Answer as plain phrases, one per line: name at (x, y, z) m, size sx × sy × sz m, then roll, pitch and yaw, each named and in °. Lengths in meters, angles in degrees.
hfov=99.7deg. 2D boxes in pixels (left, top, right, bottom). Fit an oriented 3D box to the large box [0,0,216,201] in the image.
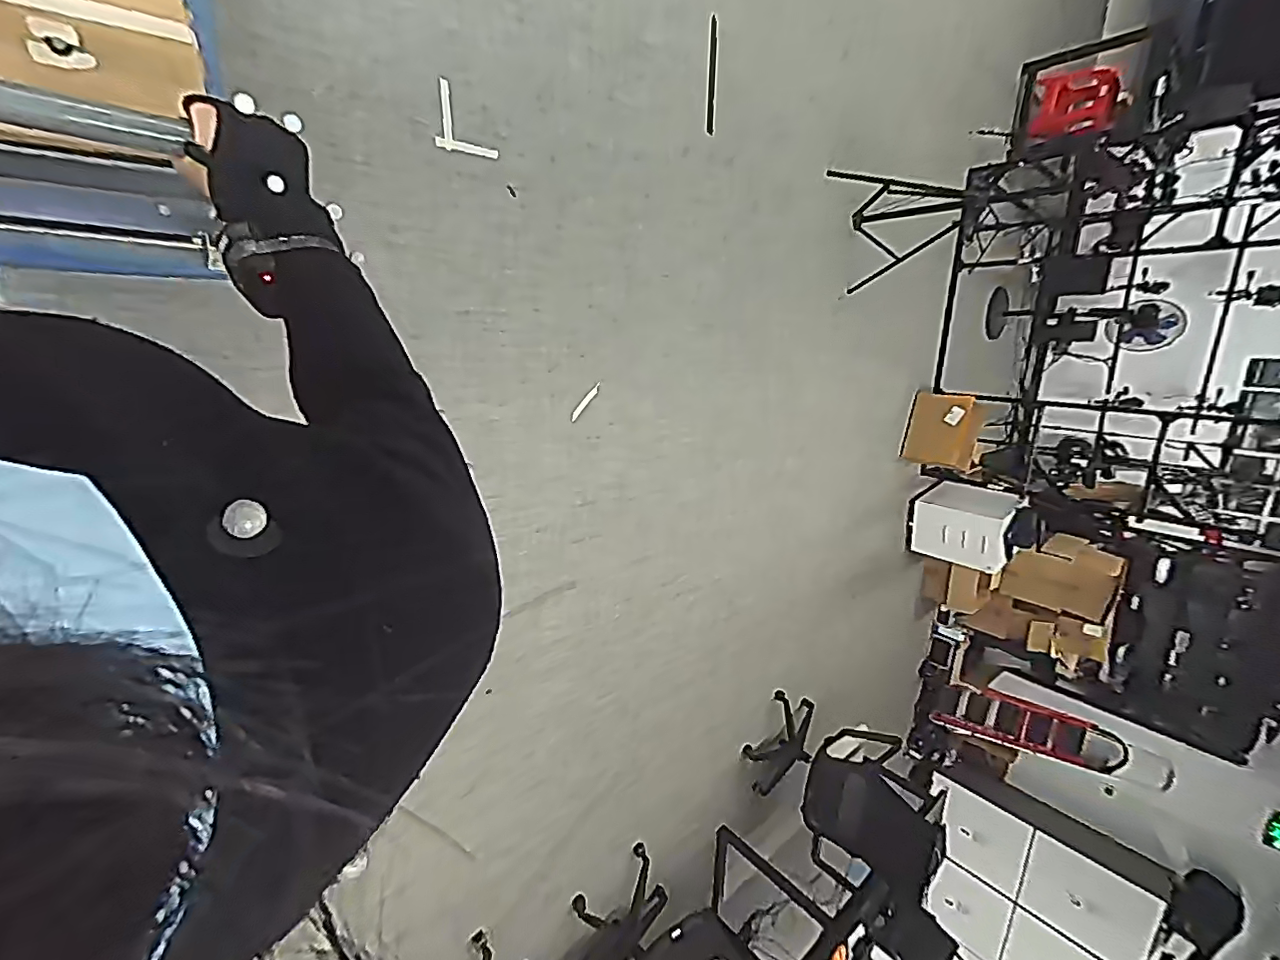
large box at (-0.856, -0.574, 0.702) m, size 0.408 × 0.320 × 0.320 m, roll -17°, pitch 113°, yaw -41°
